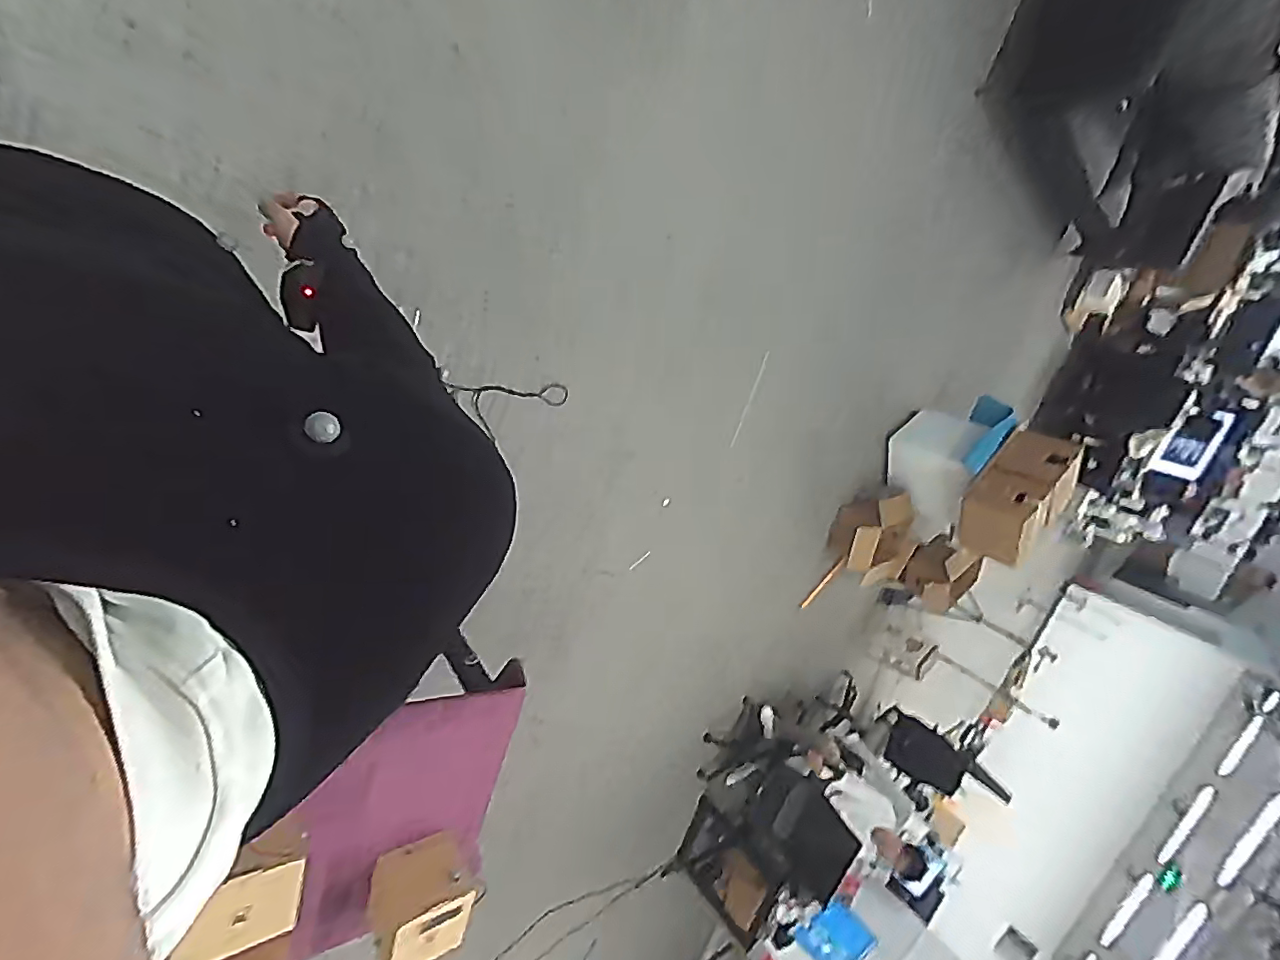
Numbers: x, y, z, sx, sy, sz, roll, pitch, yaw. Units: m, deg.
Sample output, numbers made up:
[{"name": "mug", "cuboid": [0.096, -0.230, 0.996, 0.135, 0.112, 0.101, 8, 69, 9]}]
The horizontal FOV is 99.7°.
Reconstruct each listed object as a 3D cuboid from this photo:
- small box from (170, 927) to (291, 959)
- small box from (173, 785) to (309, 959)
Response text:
[{"name": "small box", "cuboid": [-0.759, 0.912, 0.997, 0.168, 0.176, 0.179, 6, 108, -42]}, {"name": "small box", "cuboid": [-0.681, 0.655, 0.919, 0.168, 0.176, 0.179, 4, 112, -41]}]
